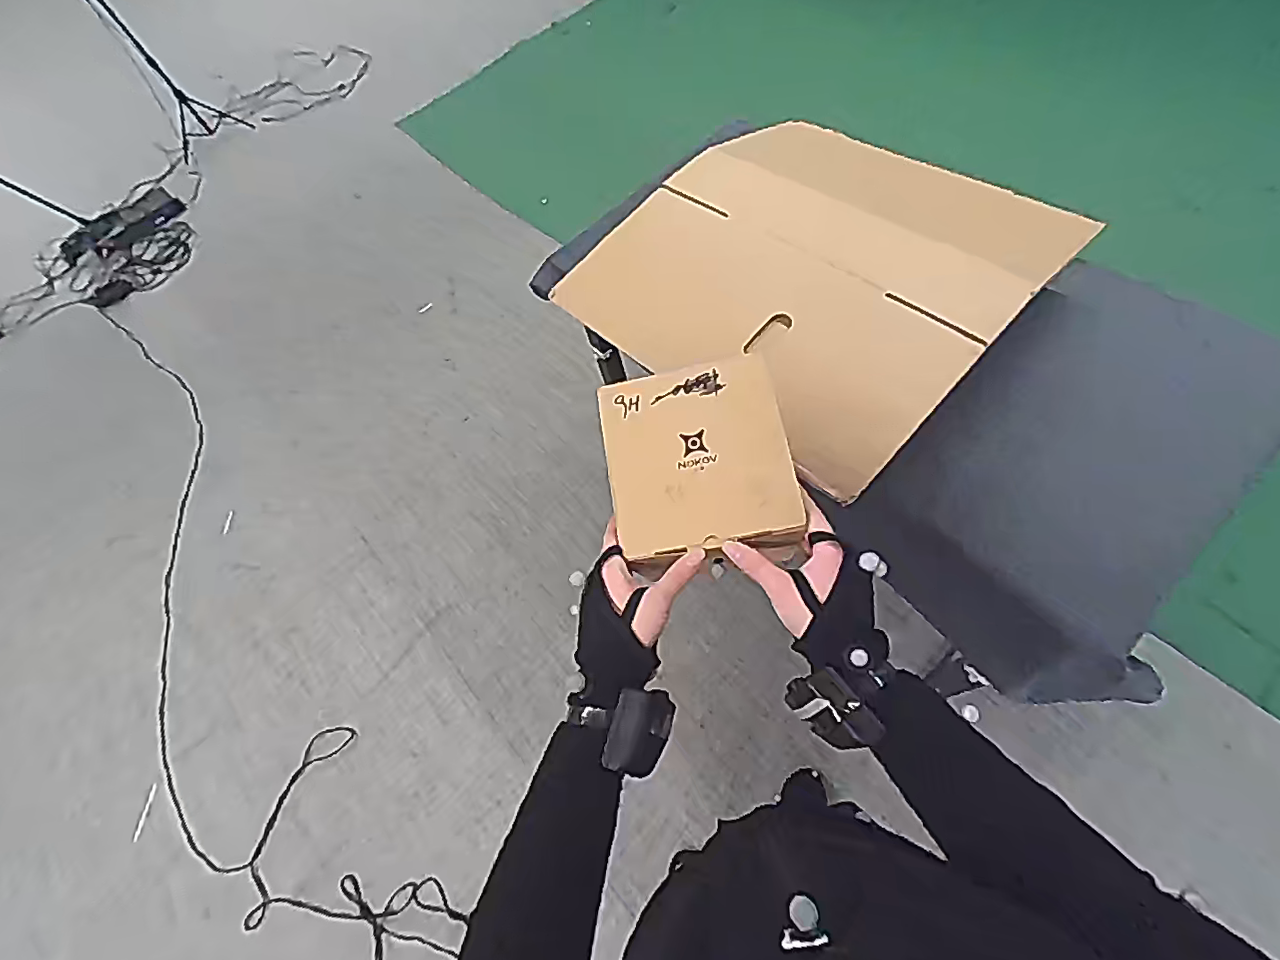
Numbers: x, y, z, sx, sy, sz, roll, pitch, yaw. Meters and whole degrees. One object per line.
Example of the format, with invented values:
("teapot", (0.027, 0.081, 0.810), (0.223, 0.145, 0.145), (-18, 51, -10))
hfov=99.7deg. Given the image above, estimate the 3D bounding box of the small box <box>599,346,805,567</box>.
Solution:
("small box", (0.067, -0.009, 0.577), (0.168, 0.176, 0.179), (-13, 71, 7))
